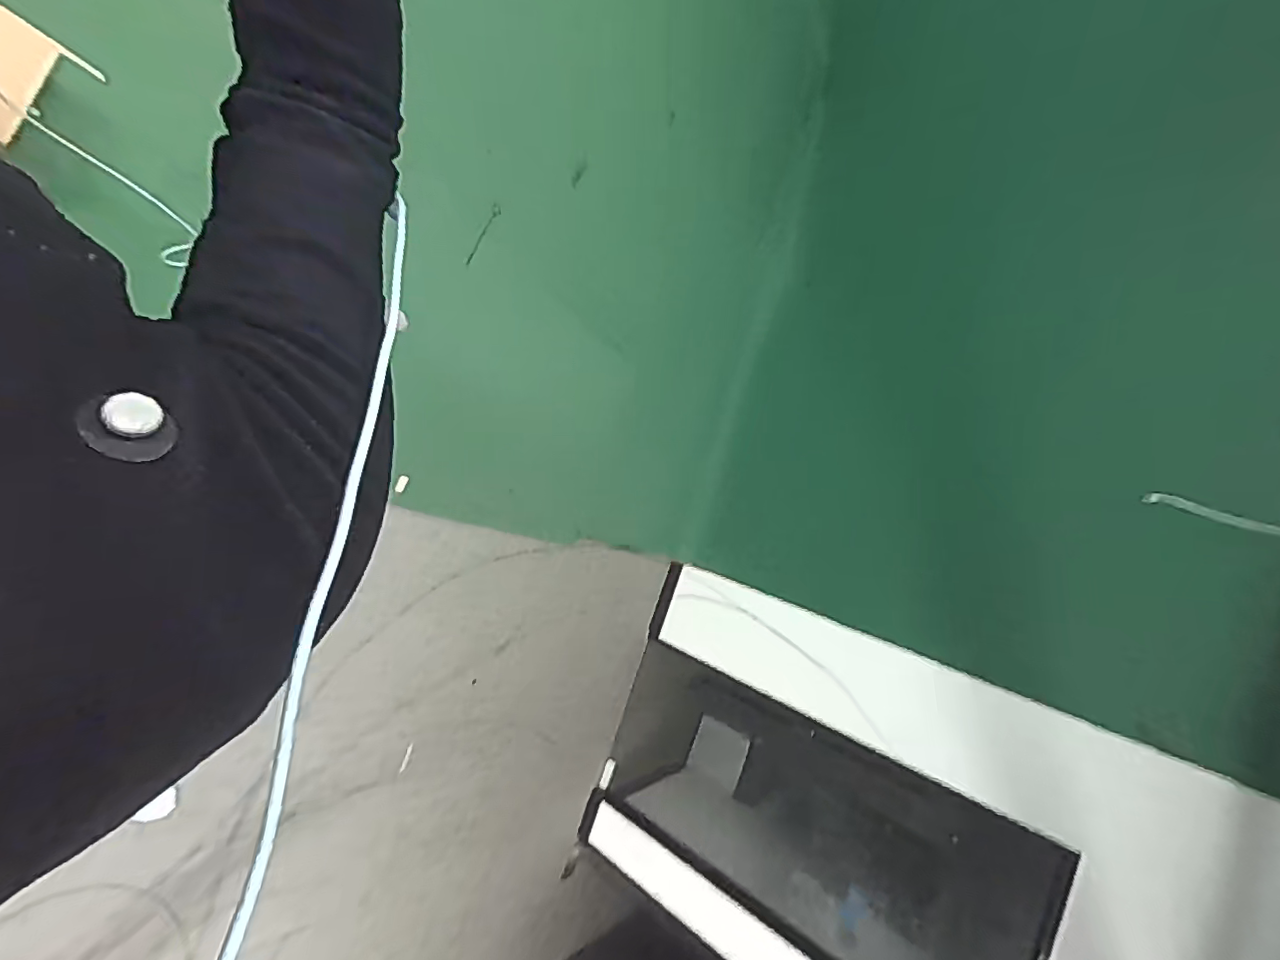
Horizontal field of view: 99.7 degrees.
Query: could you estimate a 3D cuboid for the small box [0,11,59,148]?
[{"bbox_3d":[-1.032,-0.627,0.806,0.168,0.176,0.179,30,79,-56],"label":"small box"}]
